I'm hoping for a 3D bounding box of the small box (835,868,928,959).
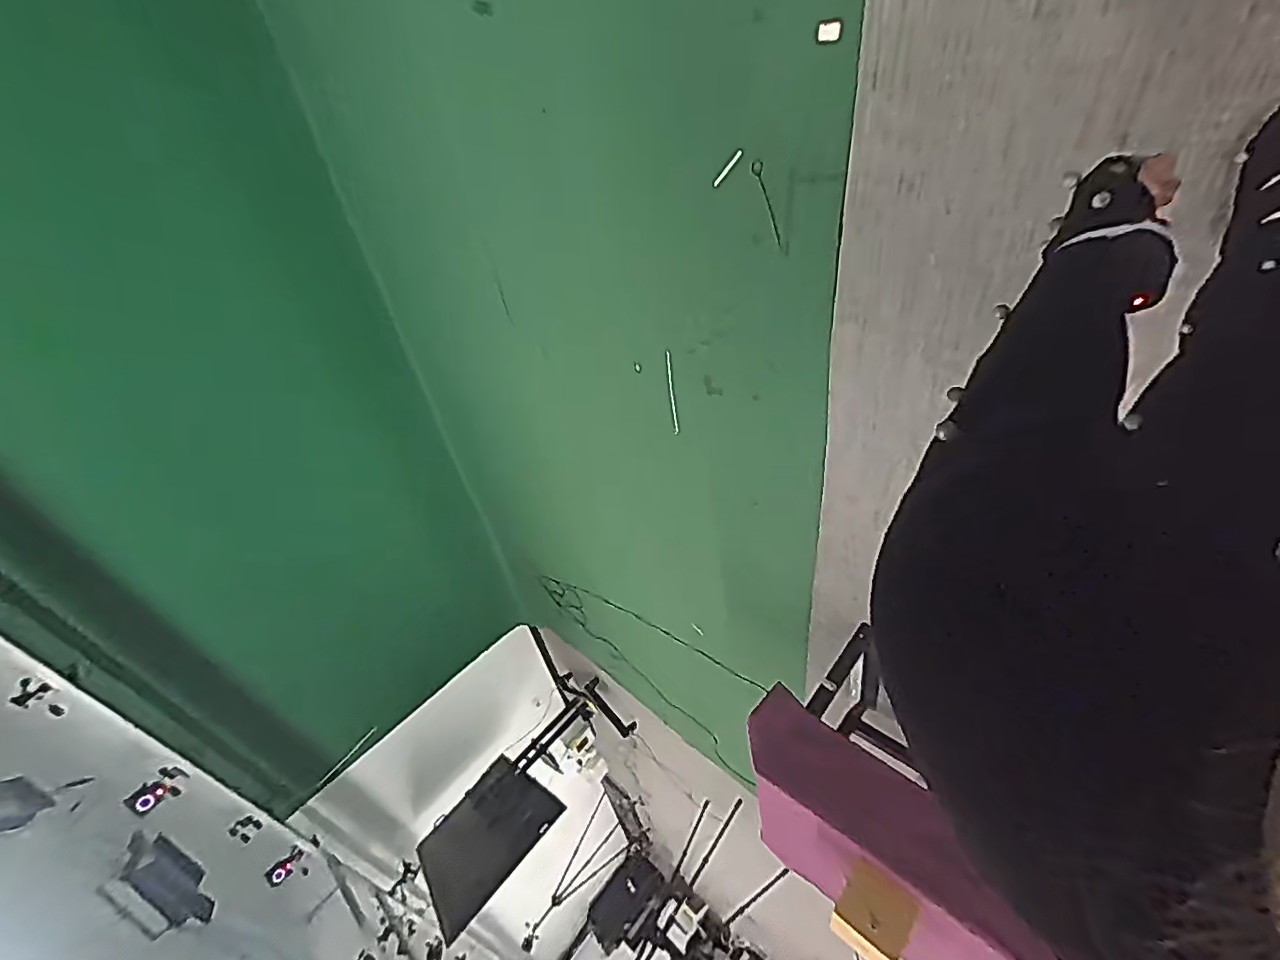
[{"bbox_3d":[0.658,1.217,1.474,0.179,0.176,0.168,24,139,38],"label":"small box"}]
